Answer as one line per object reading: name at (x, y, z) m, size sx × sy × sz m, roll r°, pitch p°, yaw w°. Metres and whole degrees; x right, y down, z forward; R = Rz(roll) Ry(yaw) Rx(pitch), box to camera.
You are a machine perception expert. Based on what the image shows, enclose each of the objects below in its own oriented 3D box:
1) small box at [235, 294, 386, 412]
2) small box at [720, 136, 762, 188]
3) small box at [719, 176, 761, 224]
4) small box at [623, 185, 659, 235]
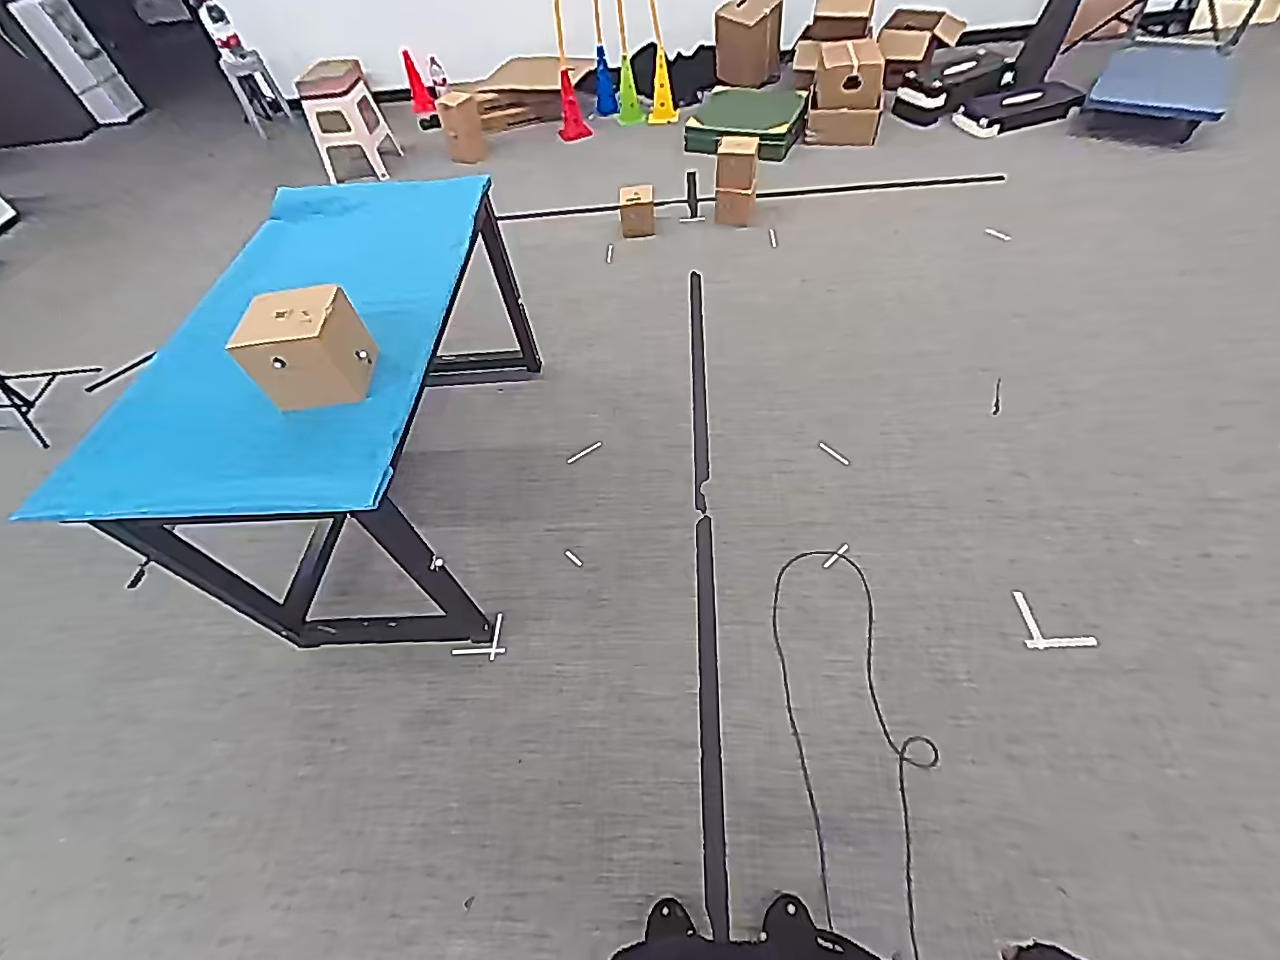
small box at (-0.653, -0.253, 1.096) m, size 0.179 × 0.176 × 0.168 m, roll -3°, pitch 54°, yaw 3°
small box at (0.482, -1.527, 2.595) m, size 0.179 × 0.176 × 0.168 m, roll 10°, pitch 56°, yaw 13°
small box at (0.500, -1.407, 2.710) m, size 0.179 × 0.176 × 0.168 m, roll 12°, pitch 55°, yaw 14°
small box at (0.009, -1.359, 2.734) m, size 0.168 × 0.176 × 0.179 m, roll -4°, pitch 52°, yaw 5°
